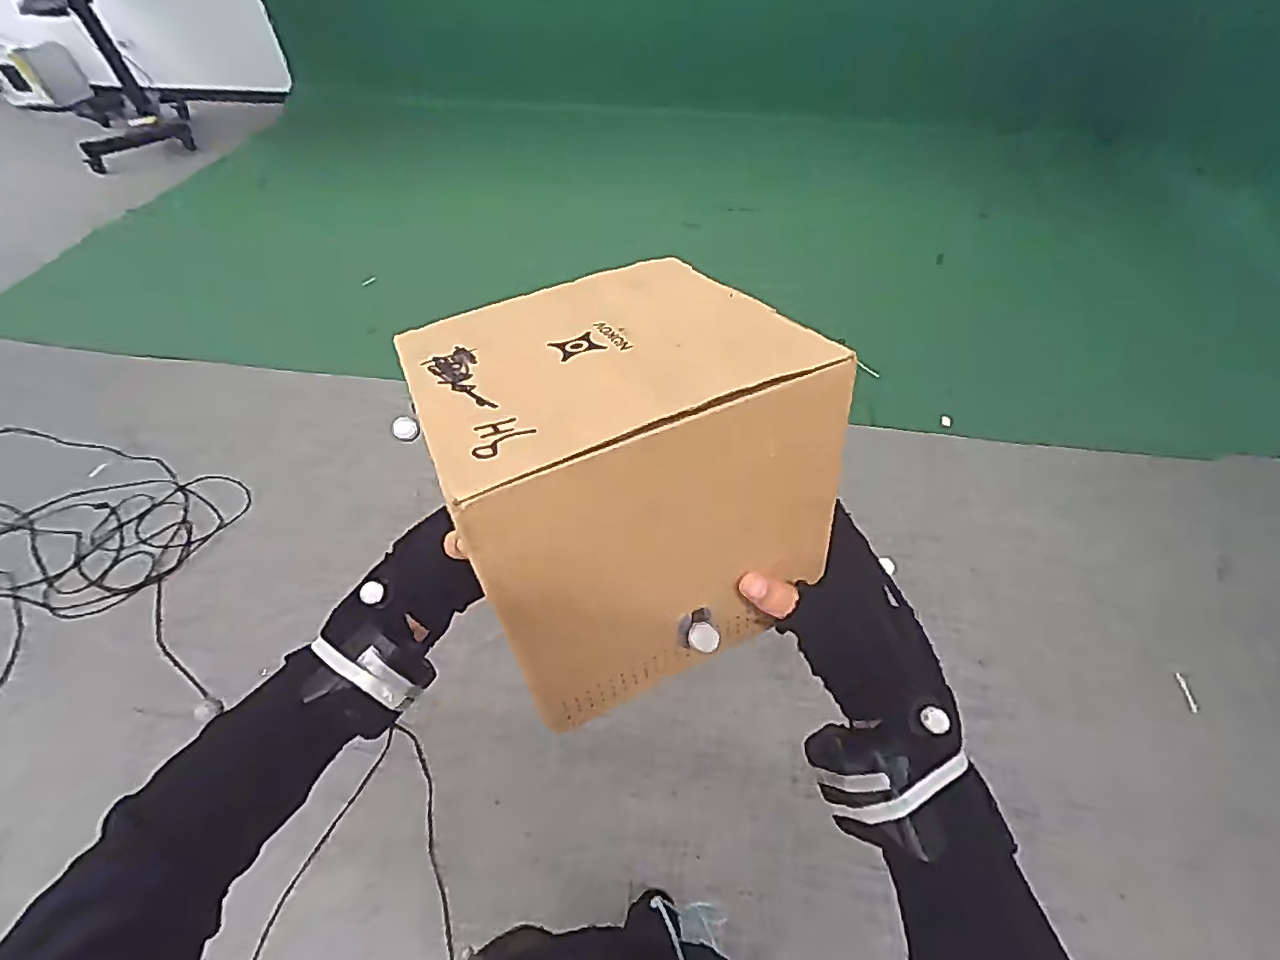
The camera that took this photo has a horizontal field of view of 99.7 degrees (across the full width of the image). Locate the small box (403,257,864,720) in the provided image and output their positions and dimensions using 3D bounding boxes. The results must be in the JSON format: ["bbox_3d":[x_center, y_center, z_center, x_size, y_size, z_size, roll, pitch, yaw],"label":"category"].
[{"bbox_3d":[-0.010,-0.005,0.308,0.179,0.176,0.168,-21,41,-17],"label":"small box"}]
